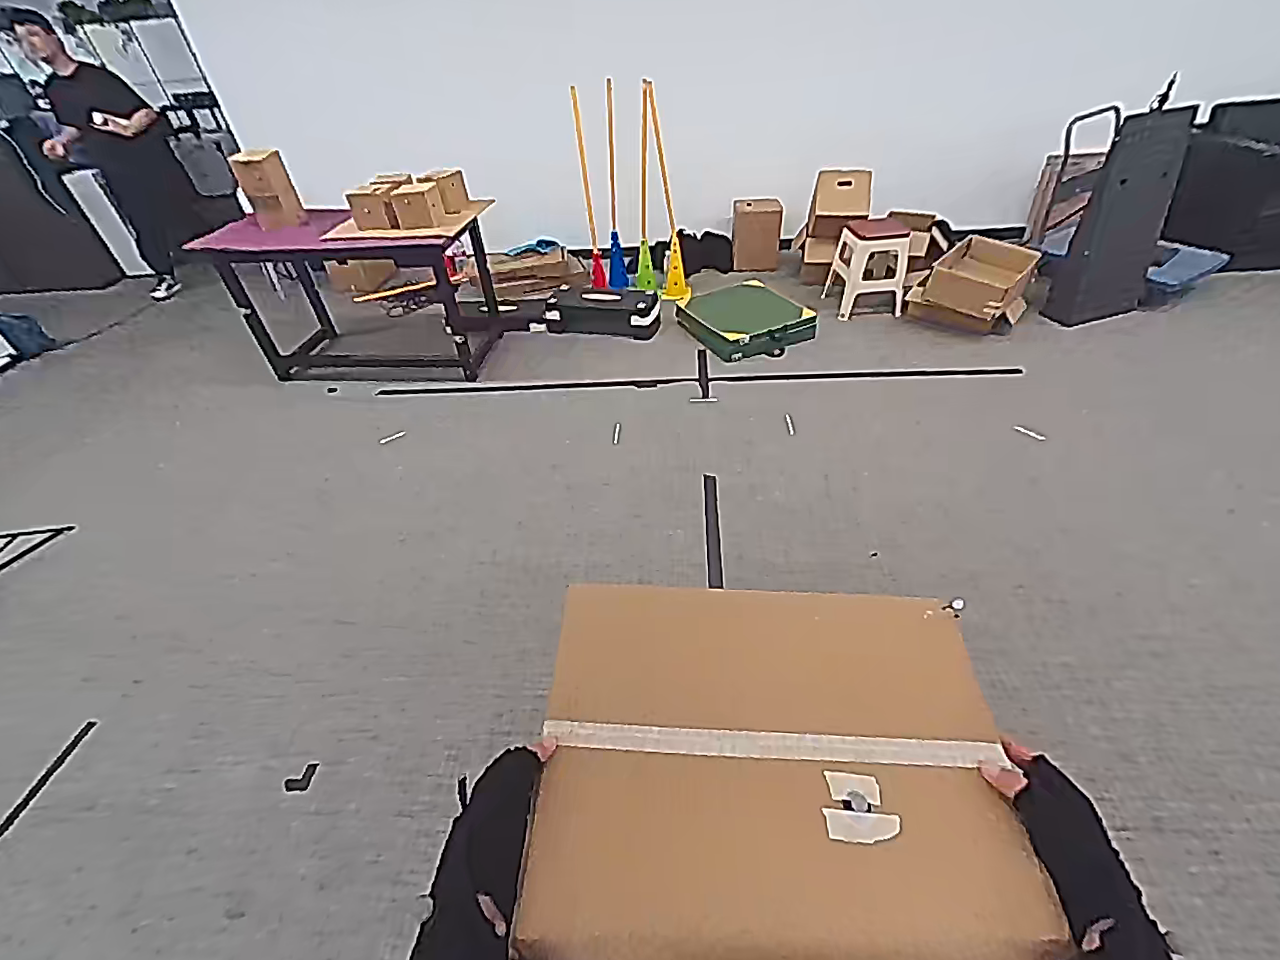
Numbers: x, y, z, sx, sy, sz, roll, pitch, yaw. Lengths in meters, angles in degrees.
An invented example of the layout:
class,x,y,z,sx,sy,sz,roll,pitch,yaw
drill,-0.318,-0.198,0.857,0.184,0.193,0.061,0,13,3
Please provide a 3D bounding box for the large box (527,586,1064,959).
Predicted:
class,x,y,z,sx,sy,sz,roll,pitch,yaw
large box,0.120,0.337,0.605,0.408,0.320,0.320,2,49,3
